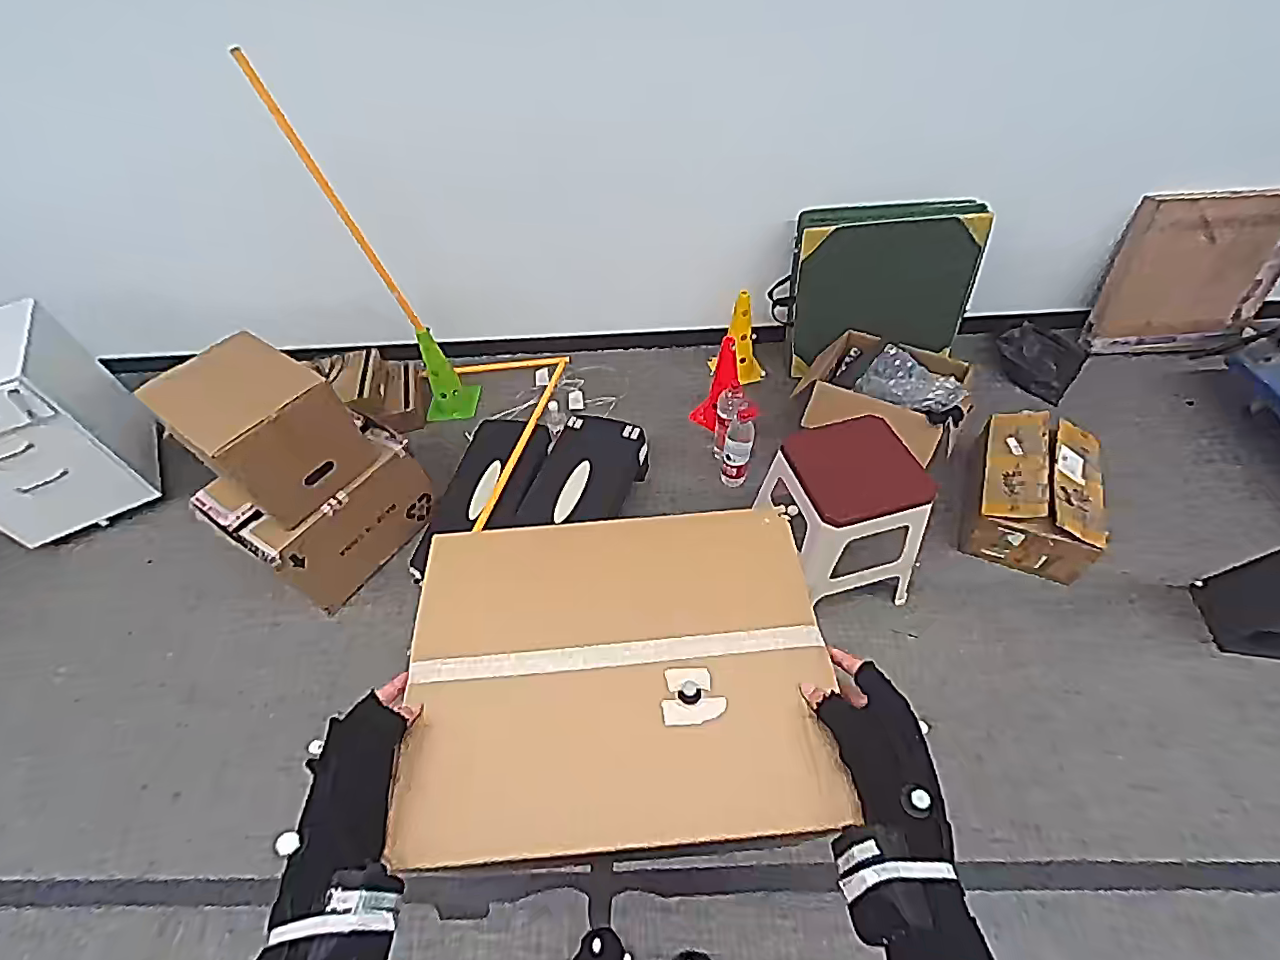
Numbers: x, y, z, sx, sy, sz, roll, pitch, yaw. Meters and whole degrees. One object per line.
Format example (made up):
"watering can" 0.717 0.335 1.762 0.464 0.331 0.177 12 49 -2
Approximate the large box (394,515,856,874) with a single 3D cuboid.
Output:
"large box" -0.019 0.269 0.662 0.408 0.320 0.320 -4 53 -1
